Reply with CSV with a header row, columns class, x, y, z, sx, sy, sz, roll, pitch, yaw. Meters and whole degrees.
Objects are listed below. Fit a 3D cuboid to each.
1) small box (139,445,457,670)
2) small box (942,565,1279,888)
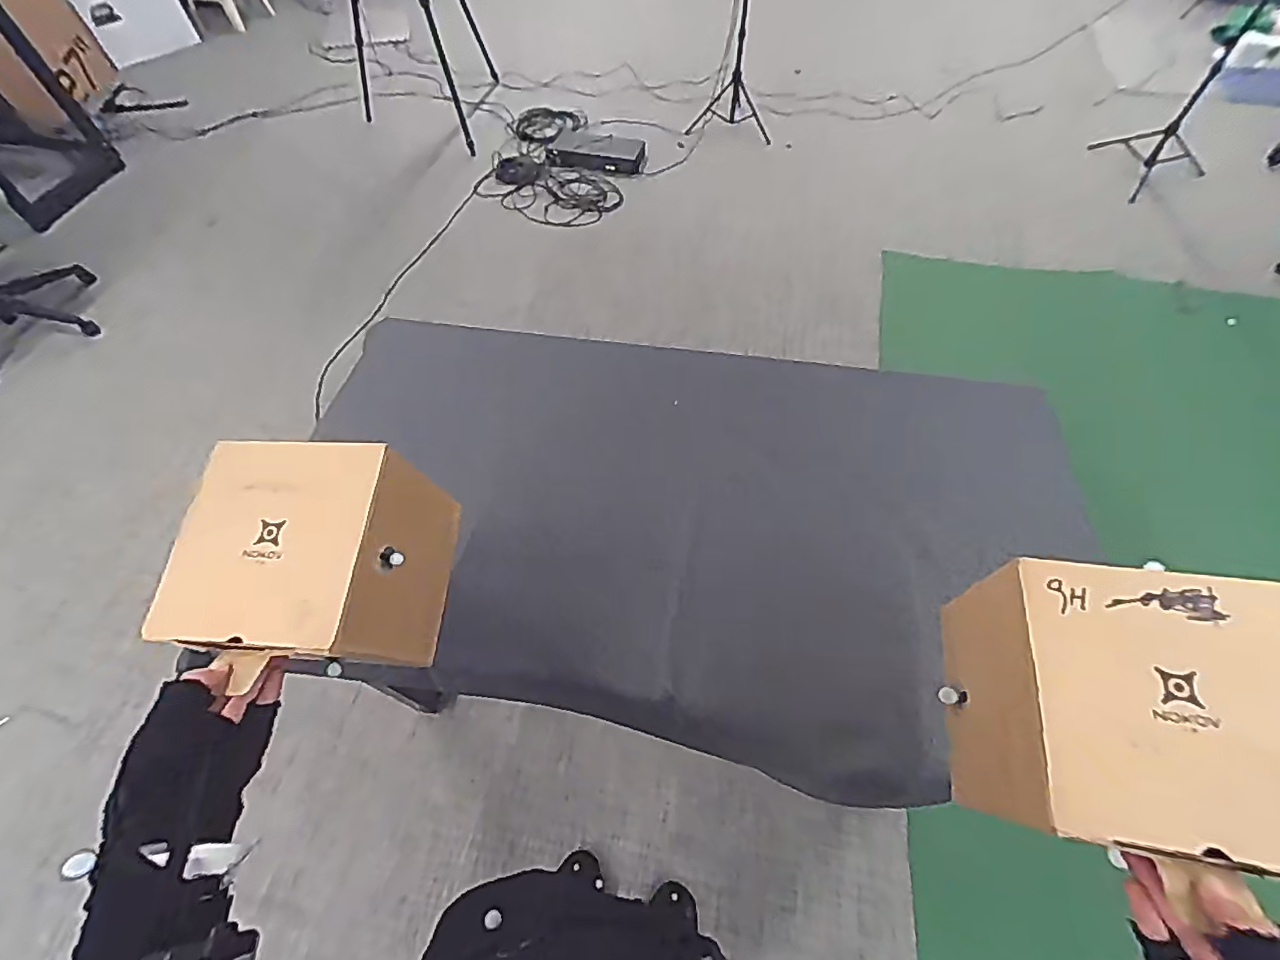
class,x,y,z,sx,sy,sz,roll,pitch,yaw
small box,-0.294,0.081,0.512,0.168,0.176,0.179,1,67,6
small box,0.351,0.179,0.413,0.168,0.176,0.179,5,65,11
